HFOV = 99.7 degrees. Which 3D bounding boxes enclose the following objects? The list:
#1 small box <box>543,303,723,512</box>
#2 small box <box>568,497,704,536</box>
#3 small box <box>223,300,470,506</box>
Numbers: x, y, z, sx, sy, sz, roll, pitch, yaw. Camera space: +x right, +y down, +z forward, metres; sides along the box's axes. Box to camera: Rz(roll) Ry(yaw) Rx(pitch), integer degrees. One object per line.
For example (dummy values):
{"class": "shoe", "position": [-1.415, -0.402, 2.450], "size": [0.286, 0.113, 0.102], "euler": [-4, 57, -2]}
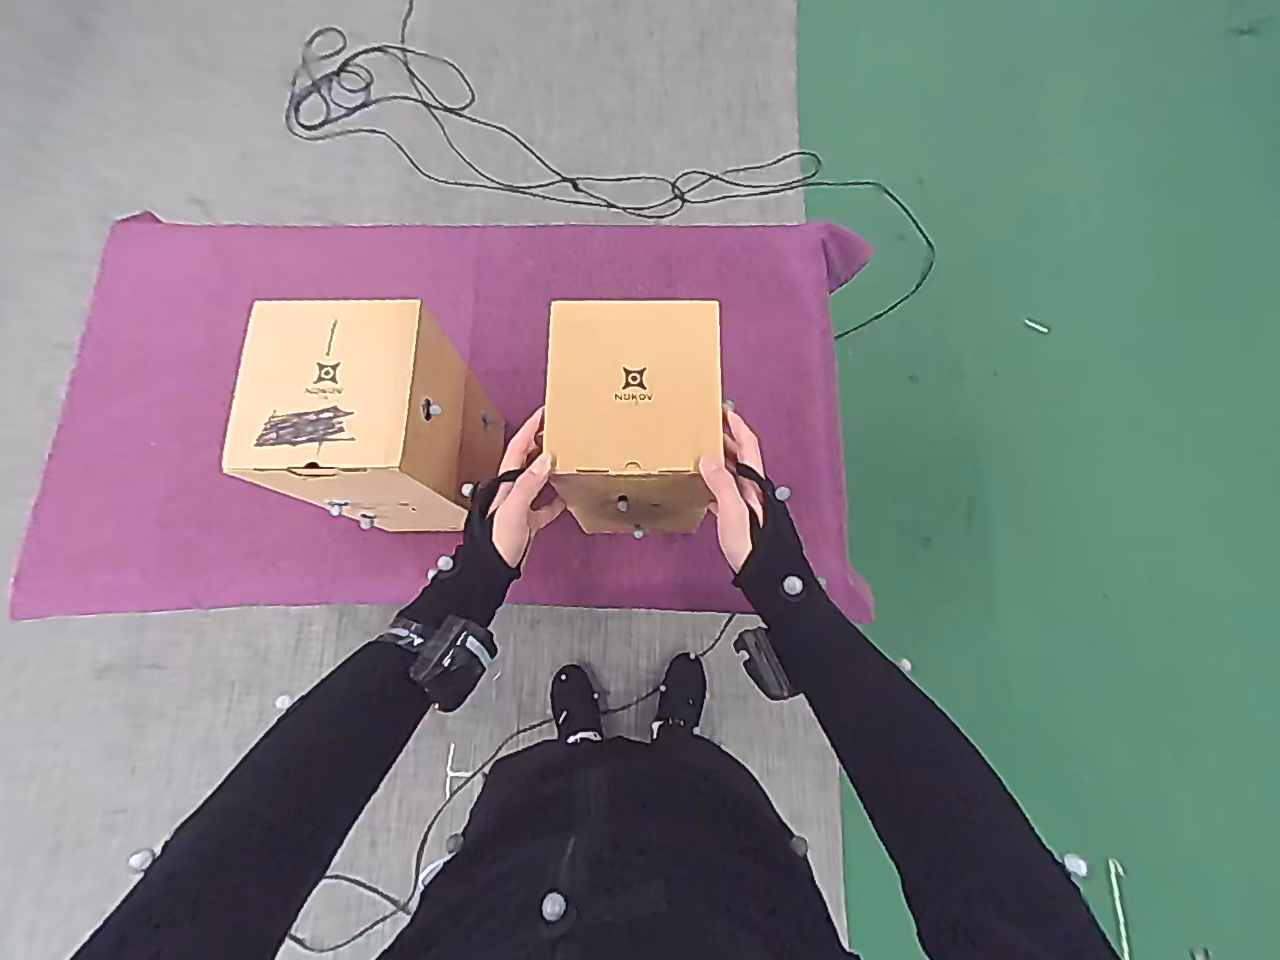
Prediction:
{"class": "small box", "position": [-0.005, -0.068, 0.584], "size": [0.168, 0.176, 0.179], "euler": [1, 77, 0]}
{"class": "small box", "position": [-0.003, -0.024, 0.740], "size": [0.168, 0.176, 0.179], "euler": [0, 75, 1]}
{"class": "small box", "position": [-0.293, -0.071, 0.584], "size": [0.168, 0.176, 0.179], "euler": [0, 74, 0]}
